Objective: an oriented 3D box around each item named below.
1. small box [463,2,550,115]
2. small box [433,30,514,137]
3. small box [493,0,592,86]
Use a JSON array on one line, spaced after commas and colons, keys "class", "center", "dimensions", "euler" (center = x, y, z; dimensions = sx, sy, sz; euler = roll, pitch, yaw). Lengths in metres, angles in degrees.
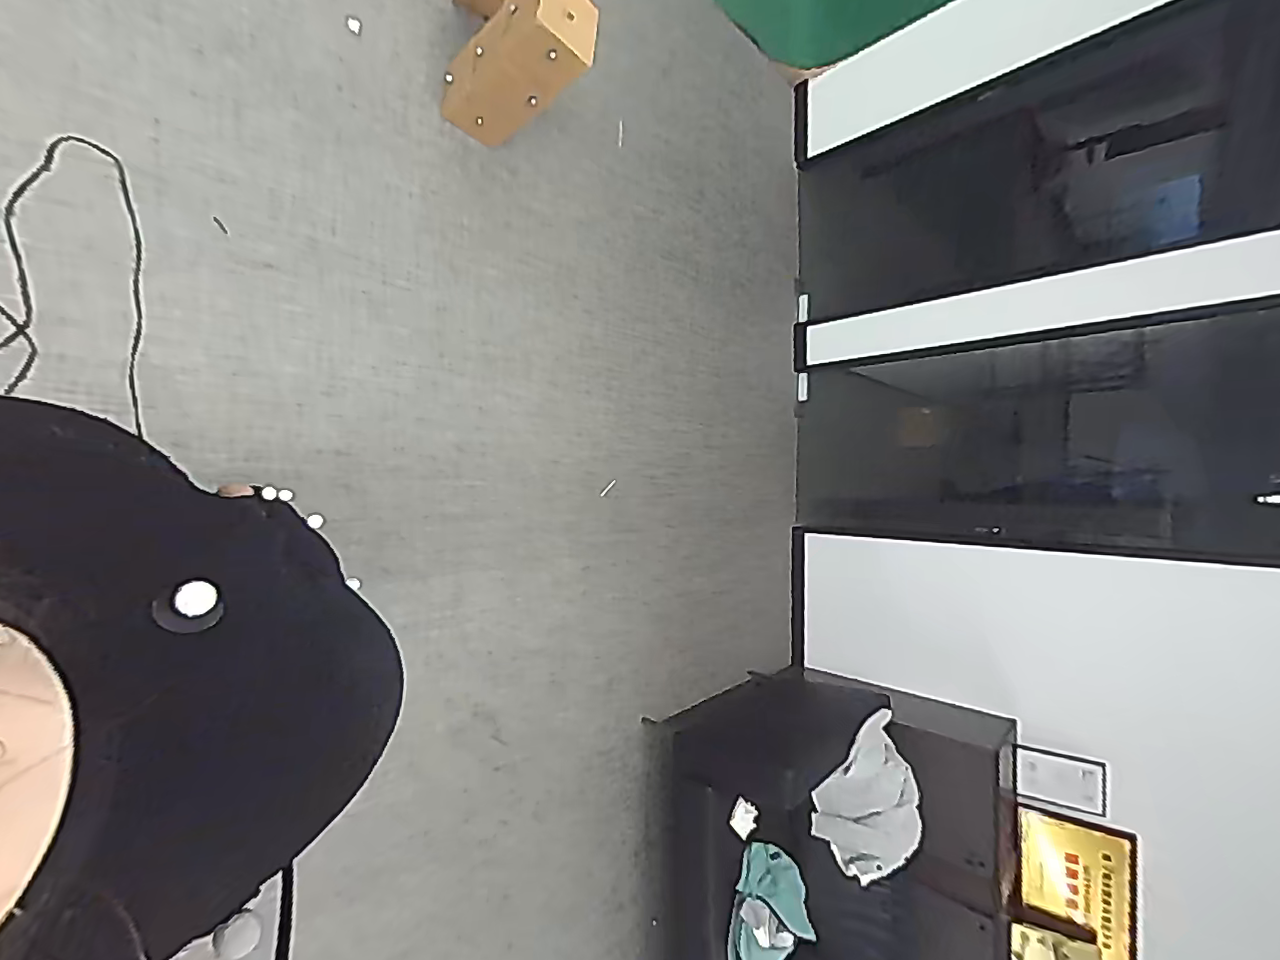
[{"class": "small box", "center": [-0.366, -1.162, 1.503], "dimensions": [0.179, 0.176, 0.168], "euler": [7, 85, -47]}, {"class": "small box", "center": [-0.488, -1.167, 1.613], "dimensions": [0.179, 0.176, 0.168], "euler": [10, 84, -46]}, {"class": "small box", "center": [-0.250, -1.163, 1.389], "dimensions": [0.179, 0.176, 0.168], "euler": [10, 84, -46]}]
